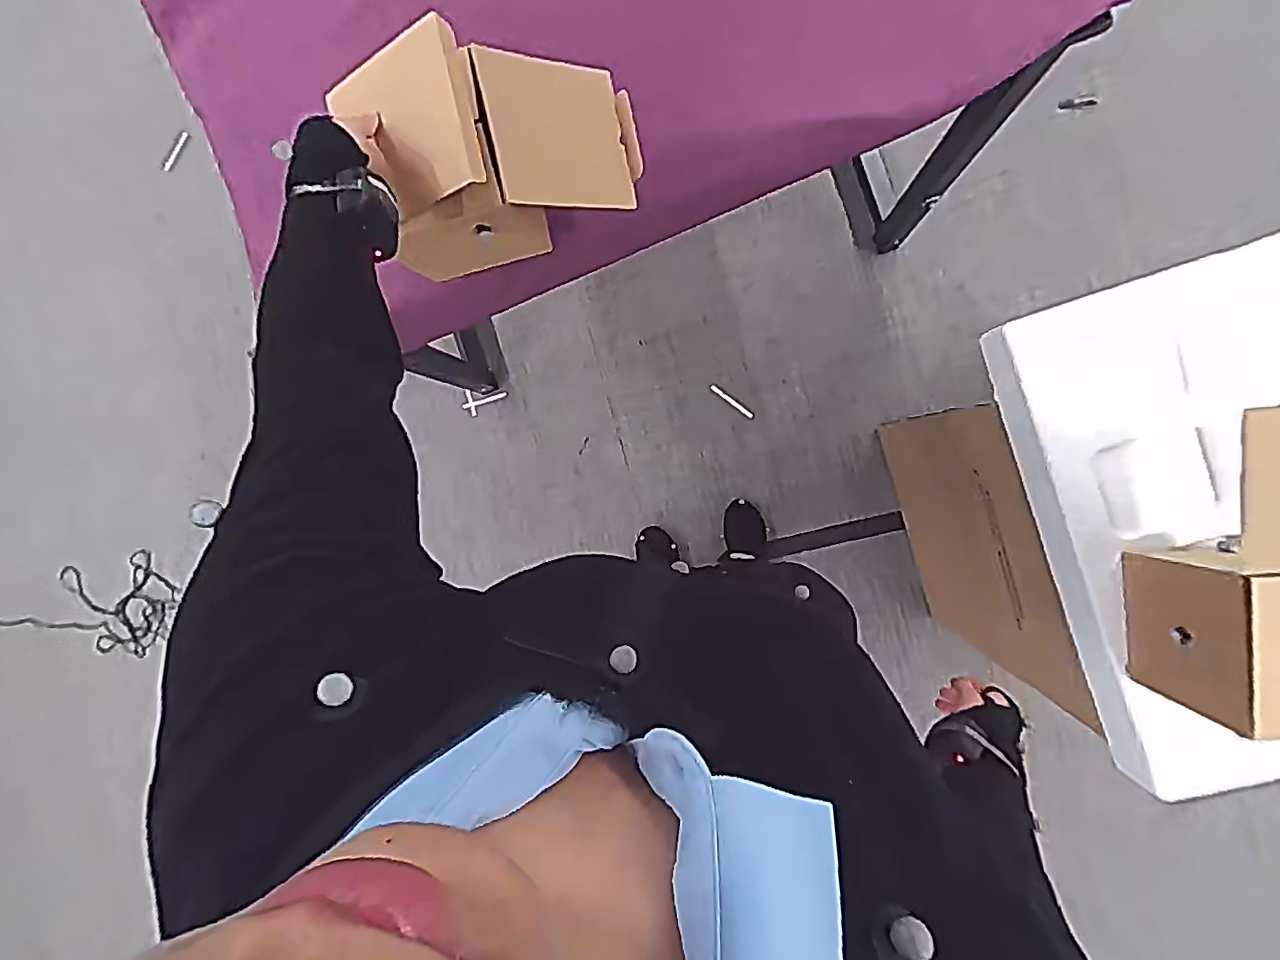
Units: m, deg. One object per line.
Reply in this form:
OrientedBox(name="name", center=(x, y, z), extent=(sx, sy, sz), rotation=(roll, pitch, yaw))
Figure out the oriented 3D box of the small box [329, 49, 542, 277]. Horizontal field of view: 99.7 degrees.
OrientedBox(name="small box", center=(-0.233, -0.369, 0.667), extent=(0.179, 0.176, 0.168), rotation=(-11, 94, 9))
